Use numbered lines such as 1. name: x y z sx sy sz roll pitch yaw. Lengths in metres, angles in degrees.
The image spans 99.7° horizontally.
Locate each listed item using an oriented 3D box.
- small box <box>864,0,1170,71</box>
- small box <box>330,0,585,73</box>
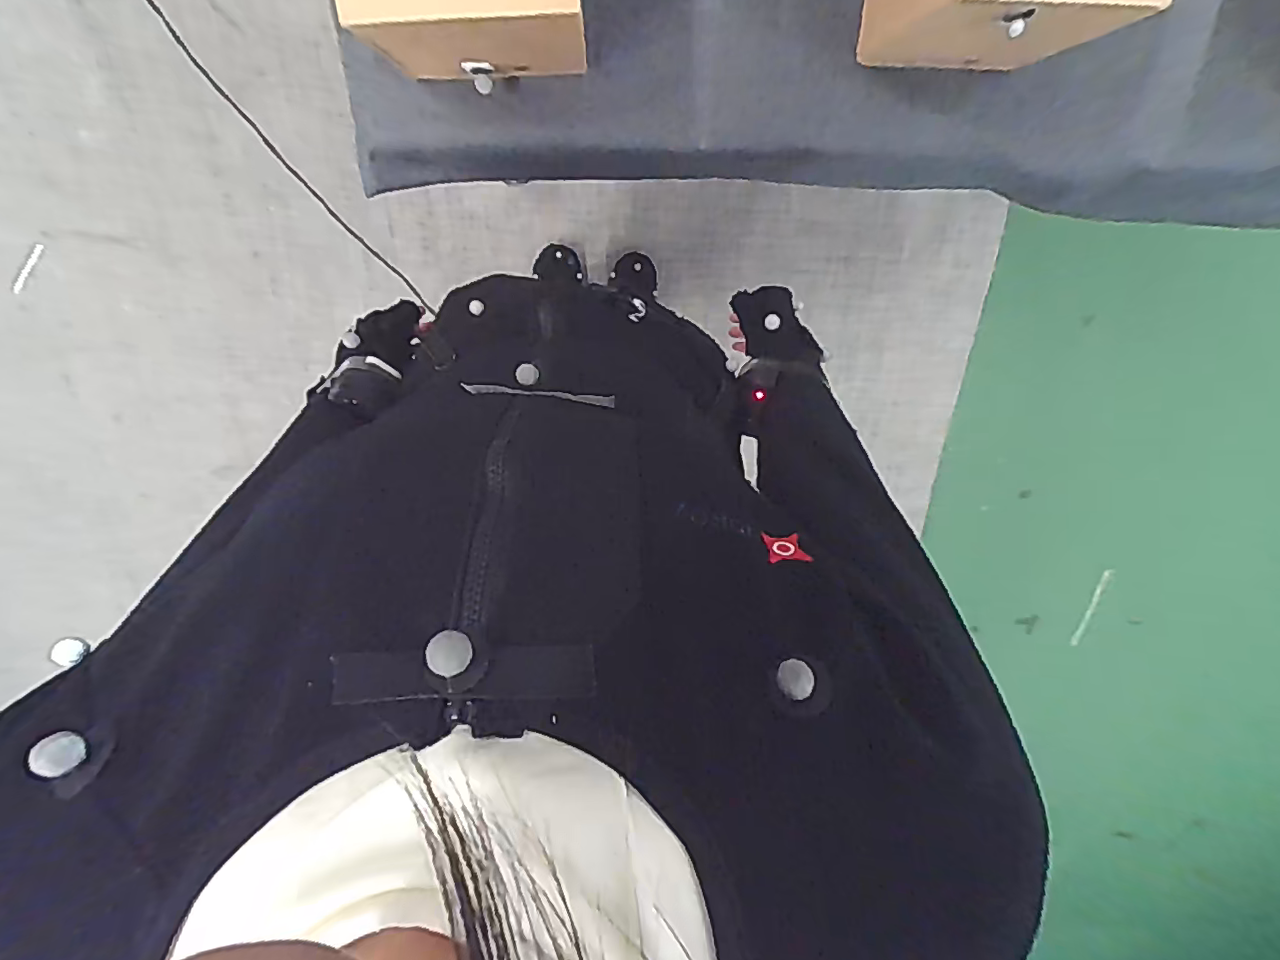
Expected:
1. small box: 0.297 -0.453 0.421 0.168 0.176 0.179 -1 114 -4
2. small box: -0.128 -0.418 0.383 0.168 0.176 0.179 -2 115 -1
